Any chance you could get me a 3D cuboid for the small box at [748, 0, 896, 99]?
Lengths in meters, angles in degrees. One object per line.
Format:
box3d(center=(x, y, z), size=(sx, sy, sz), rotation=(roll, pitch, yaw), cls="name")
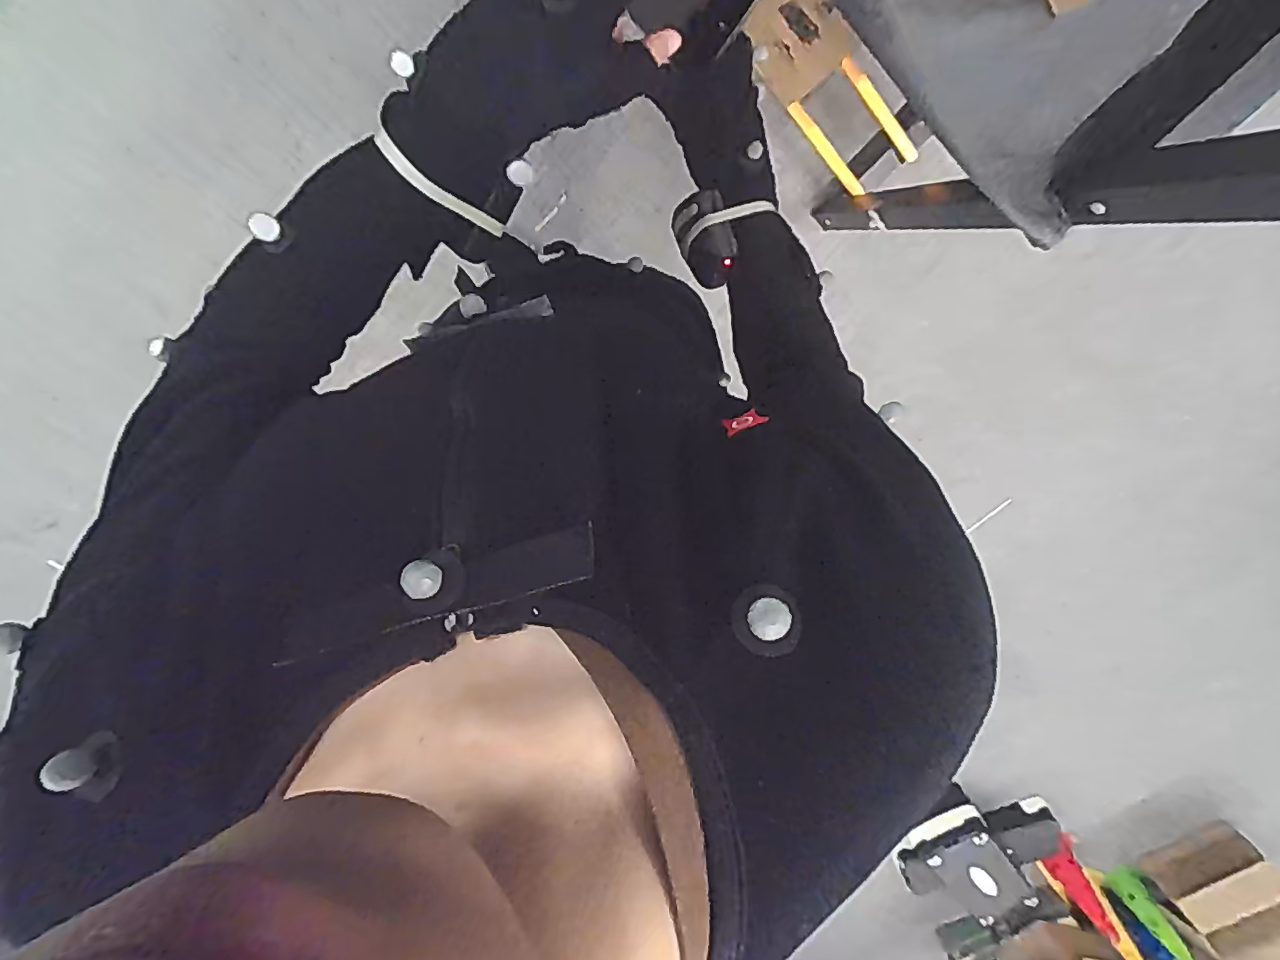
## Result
box3d(center=(0.315, -0.840, 0.981), size=(0.179, 0.176, 0.168), rotation=(-41, 111, 14), cls="small box")
